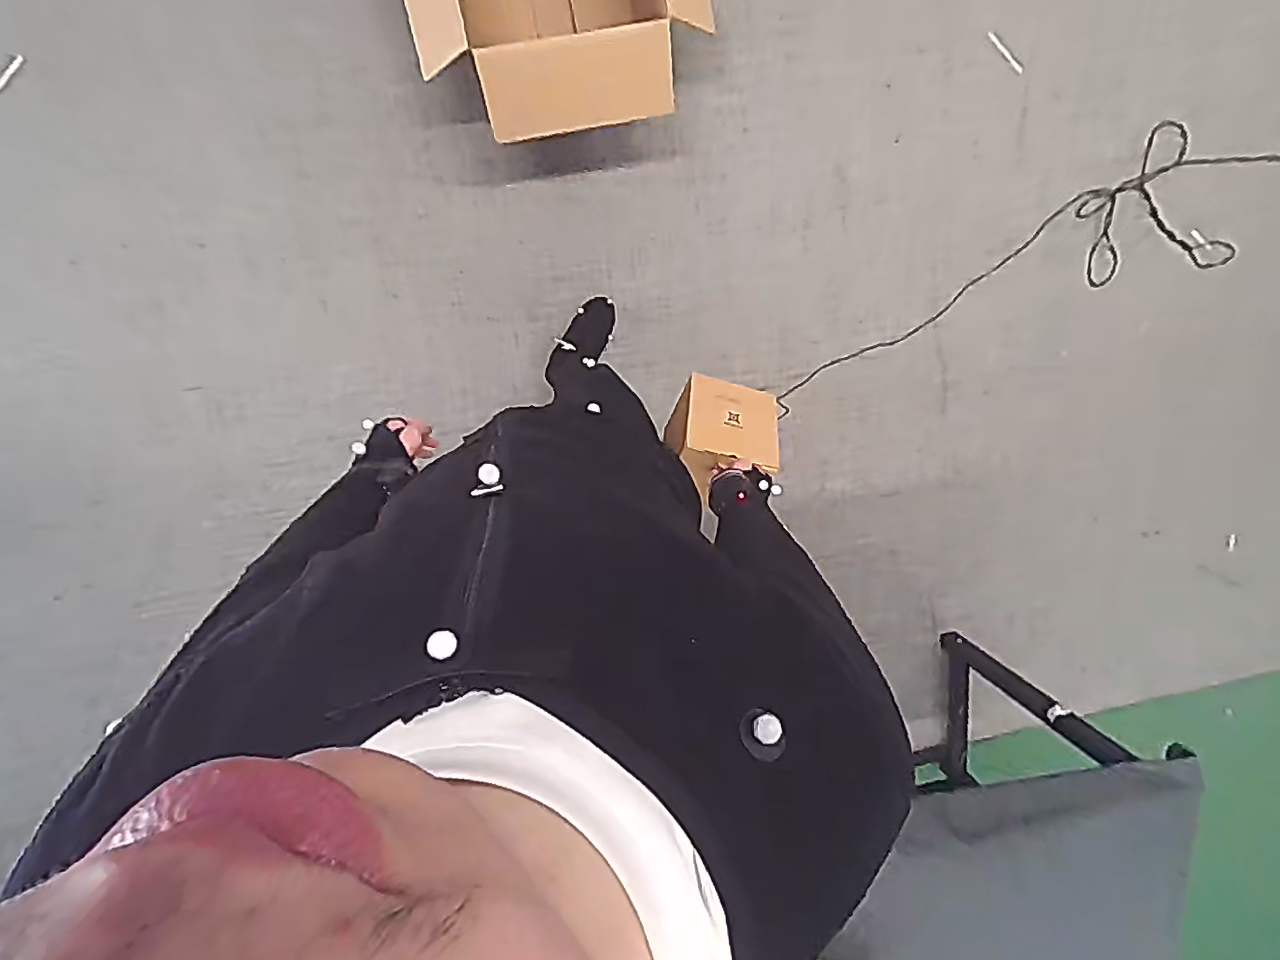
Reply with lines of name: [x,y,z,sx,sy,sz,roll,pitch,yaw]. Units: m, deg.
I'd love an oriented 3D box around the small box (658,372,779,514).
small box: [0.137,-0.061,0.987,0.168,0.179,0.176,14,140,-9]
